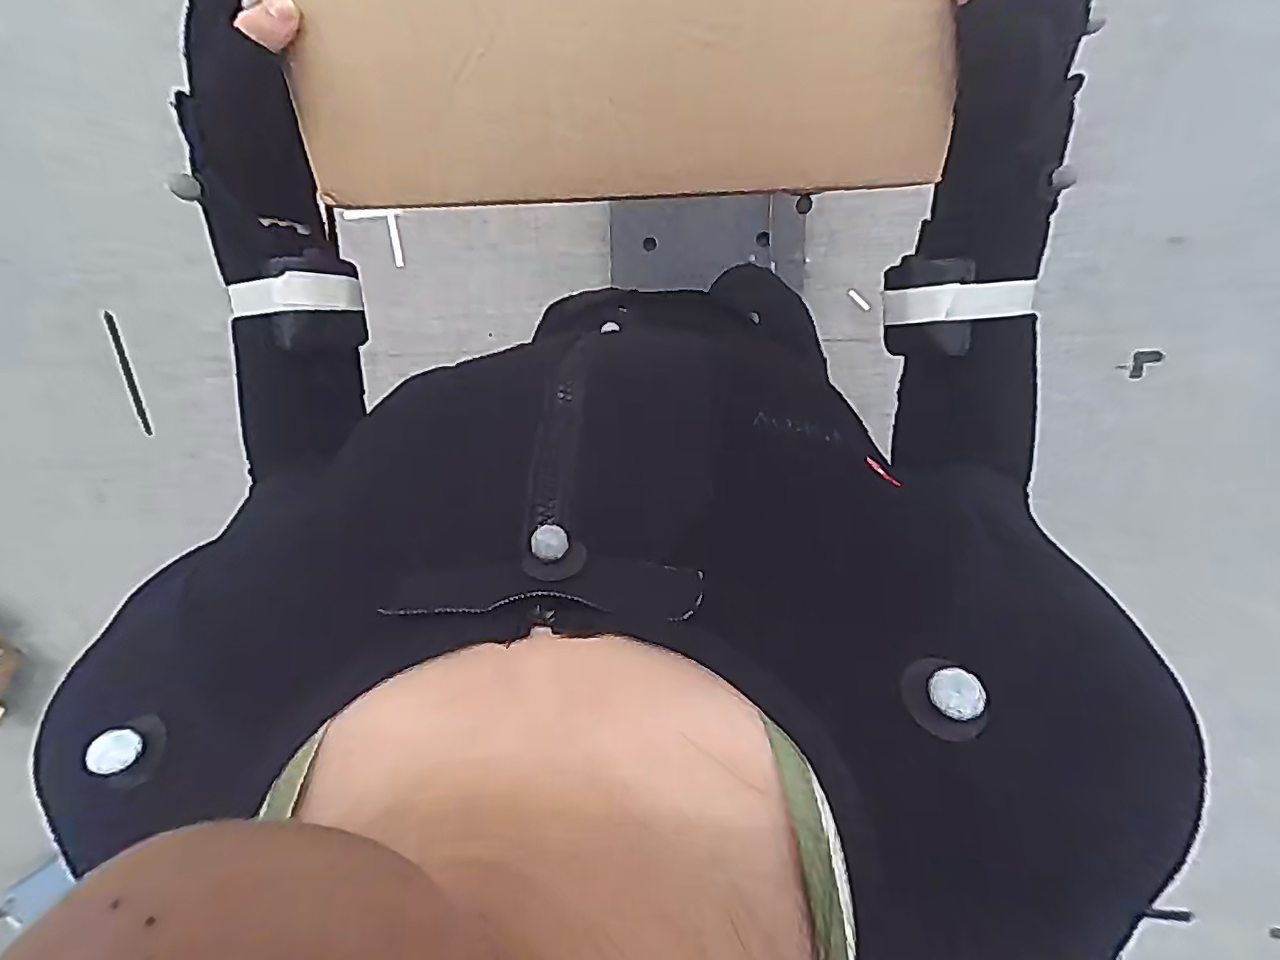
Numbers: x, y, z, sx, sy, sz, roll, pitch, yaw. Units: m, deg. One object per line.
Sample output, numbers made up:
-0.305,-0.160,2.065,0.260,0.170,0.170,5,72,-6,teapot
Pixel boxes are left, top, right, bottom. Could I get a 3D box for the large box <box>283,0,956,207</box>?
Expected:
-0.008,-0.404,0.420,0.408,0.320,0.320,0,119,5,large box
